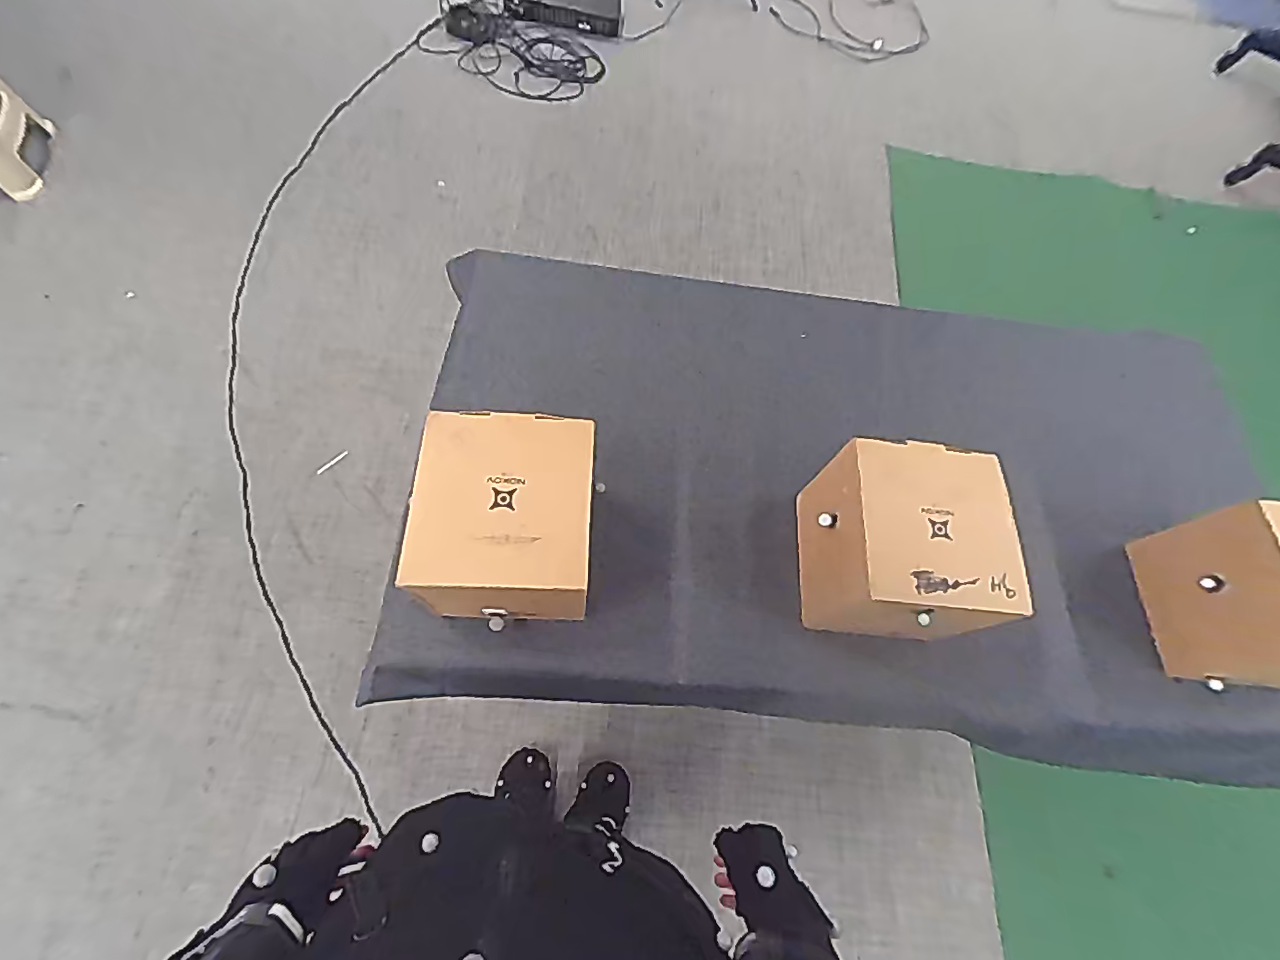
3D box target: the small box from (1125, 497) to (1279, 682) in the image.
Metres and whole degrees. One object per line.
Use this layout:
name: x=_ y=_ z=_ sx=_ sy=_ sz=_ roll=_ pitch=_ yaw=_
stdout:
small box: x=0.746 y=0.139 z=0.643 sx=0.168 sy=0.176 sz=0.179 roll=6 pitch=64 yaw=-4

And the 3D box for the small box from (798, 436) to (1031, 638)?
small box: x=0.290 y=0.073 z=0.619 sx=0.168 sy=0.176 sz=0.179 roll=6 pitch=65 yaw=-4

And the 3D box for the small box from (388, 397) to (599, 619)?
small box: x=-0.133 y=0.037 z=0.559 sx=0.168 sy=0.176 sz=0.179 roll=4 pitch=66 yaw=-4
